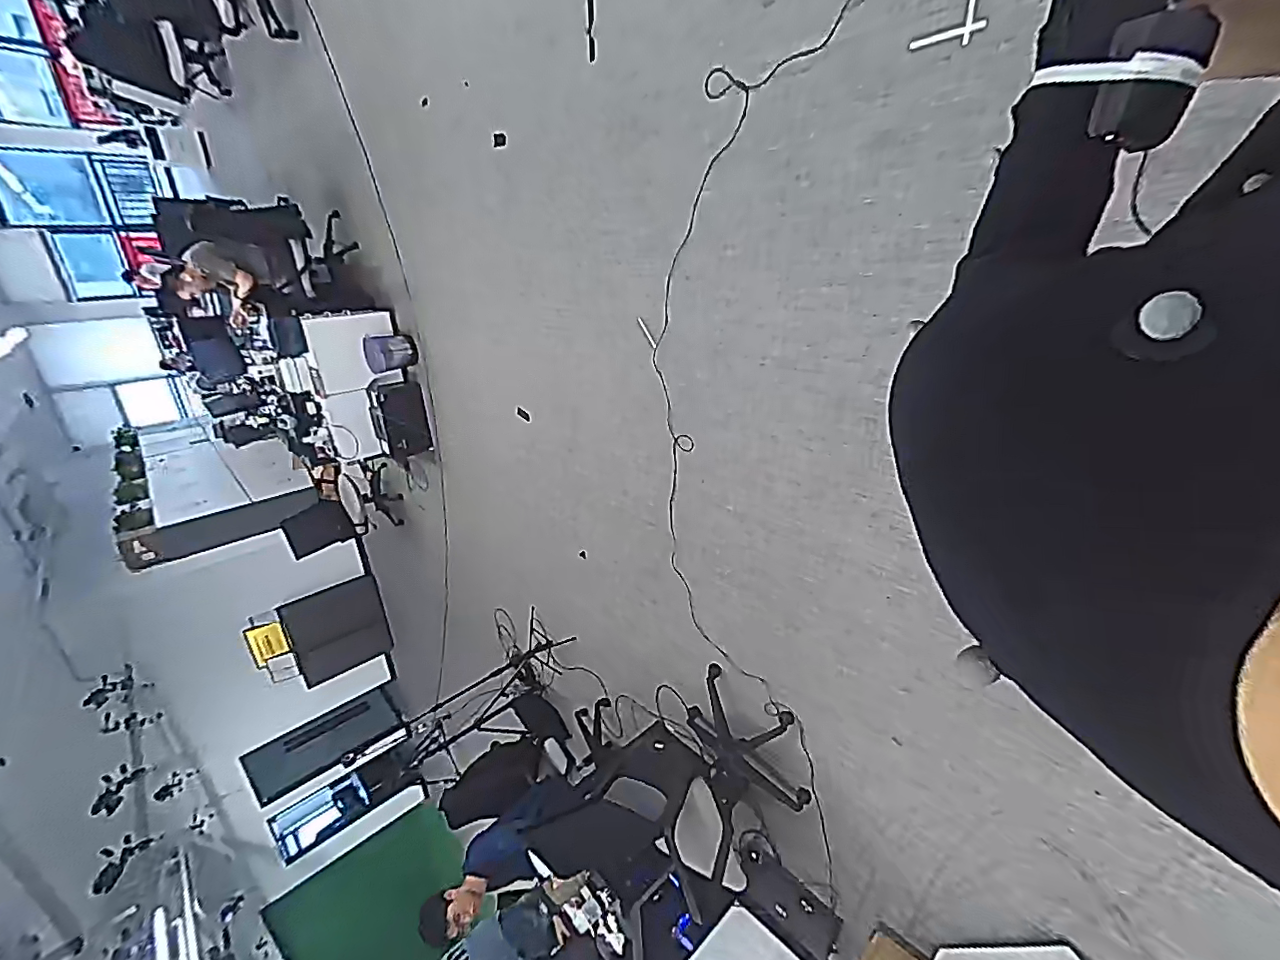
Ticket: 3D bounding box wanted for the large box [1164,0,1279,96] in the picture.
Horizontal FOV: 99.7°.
[{"bbox_3d":[0.569,-0.406,0.247,0.408,0.320,0.320,24,125,37],"label":"large box"}]
